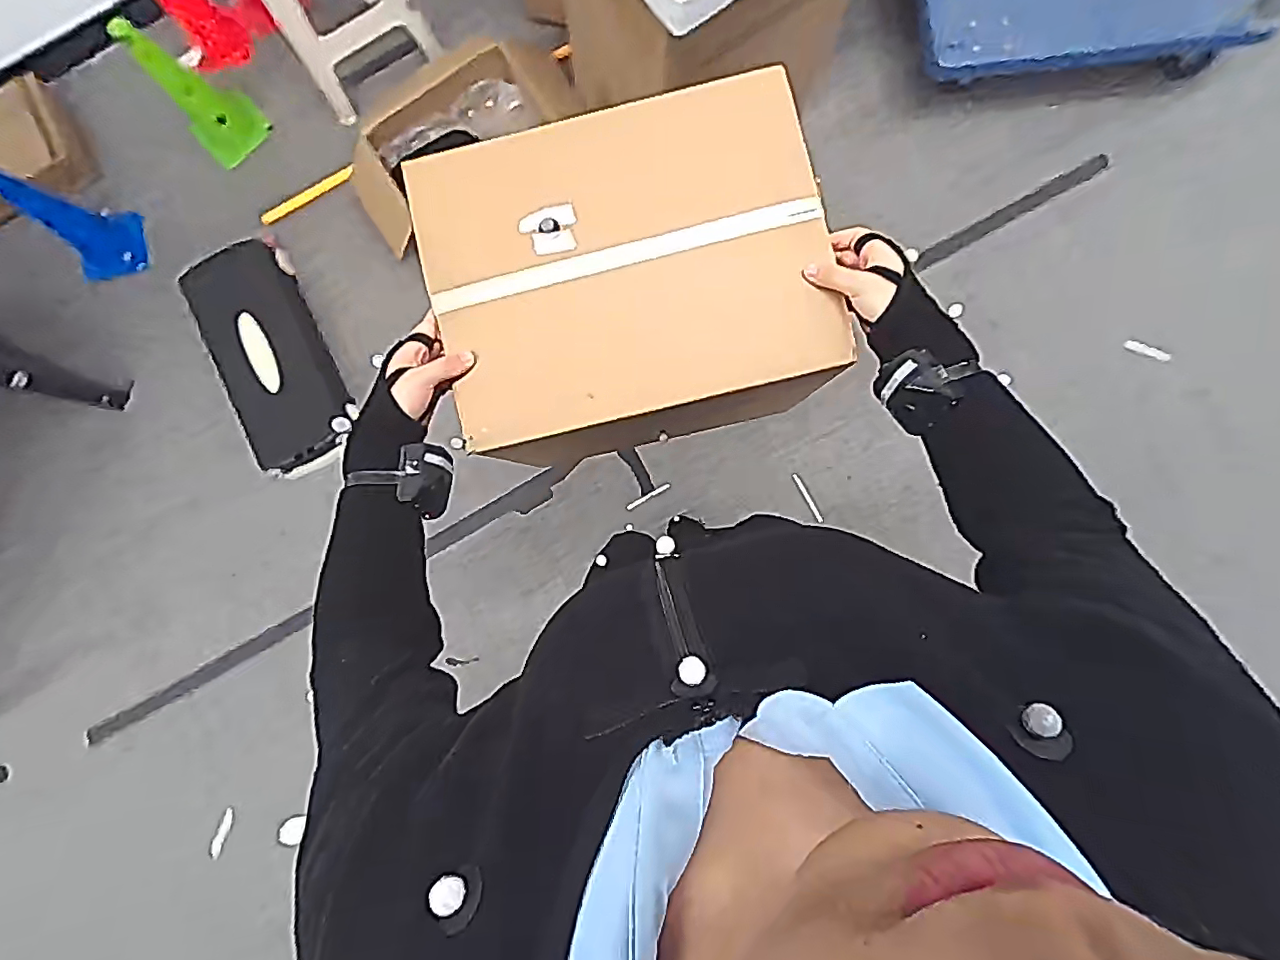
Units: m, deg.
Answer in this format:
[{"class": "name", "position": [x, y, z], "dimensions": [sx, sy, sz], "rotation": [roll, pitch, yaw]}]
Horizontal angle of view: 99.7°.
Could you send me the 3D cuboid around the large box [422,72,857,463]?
[{"class": "large box", "position": [0.003, -0.221, 0.705], "dimensions": [0.408, 0.320, 0.320], "rotation": [-13, 86, 3]}]
